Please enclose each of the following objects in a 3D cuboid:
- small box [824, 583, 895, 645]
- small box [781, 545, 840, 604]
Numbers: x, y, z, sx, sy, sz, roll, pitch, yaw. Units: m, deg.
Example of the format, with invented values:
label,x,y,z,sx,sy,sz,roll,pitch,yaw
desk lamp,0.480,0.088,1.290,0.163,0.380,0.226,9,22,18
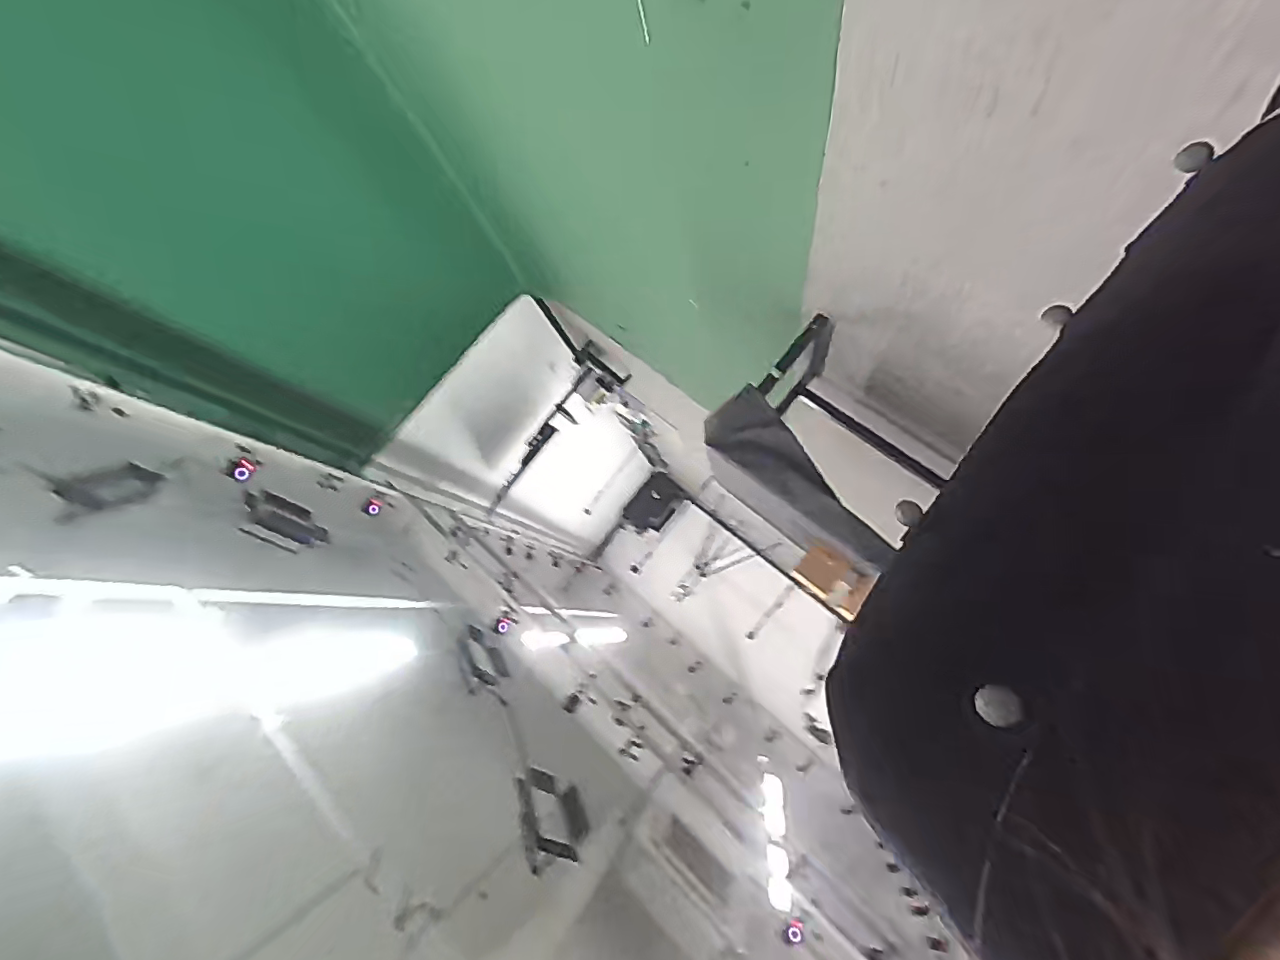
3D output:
label,x,y,z,sx,sy,sz,roll,pitch,yaw
small box,0.868,0.525,2.143,0.179,0.176,0.168,39,175,10
small box,0.703,0.393,2.236,0.168,0.176,0.179,38,174,21
